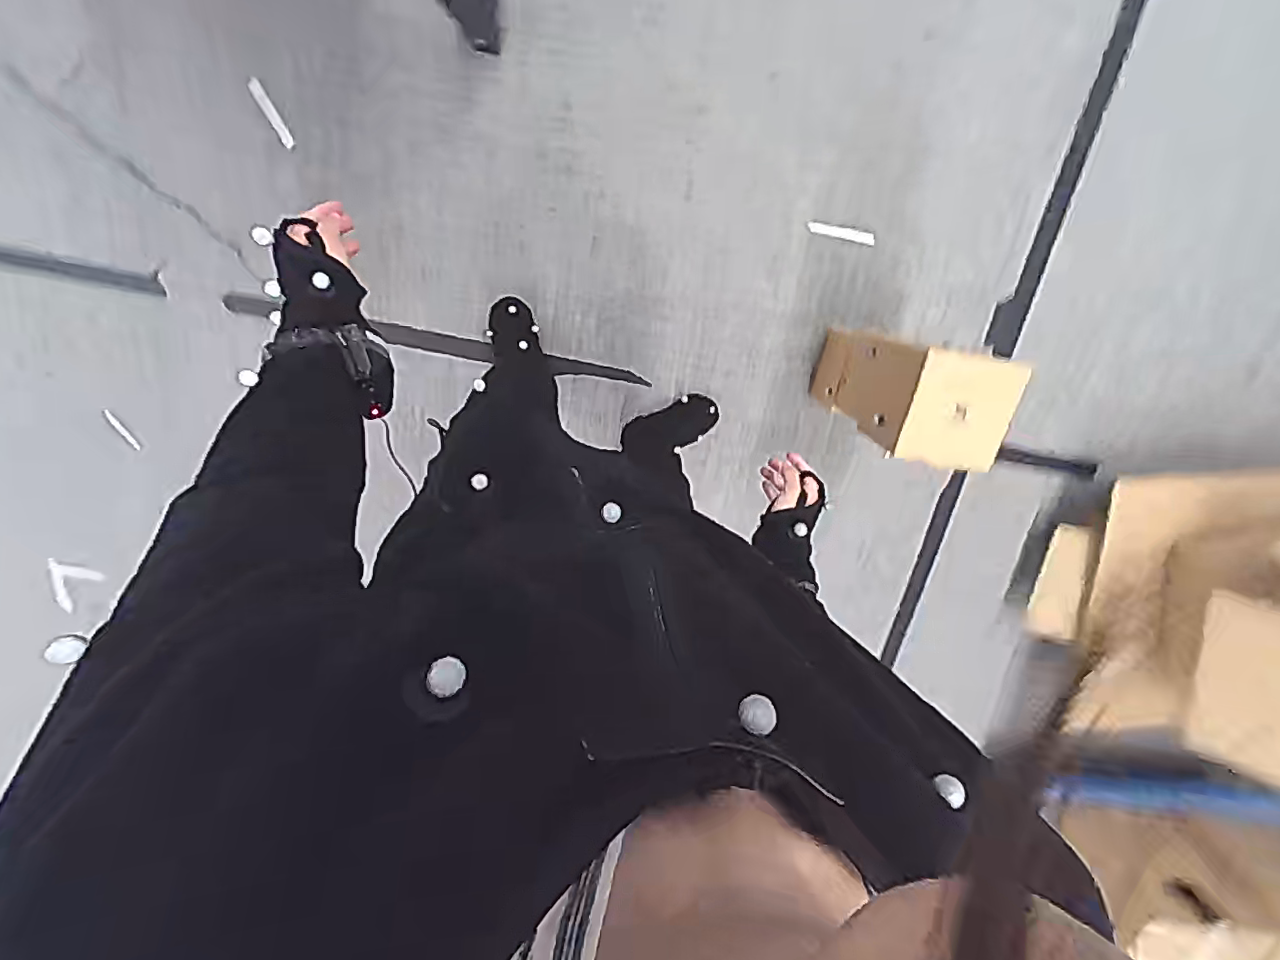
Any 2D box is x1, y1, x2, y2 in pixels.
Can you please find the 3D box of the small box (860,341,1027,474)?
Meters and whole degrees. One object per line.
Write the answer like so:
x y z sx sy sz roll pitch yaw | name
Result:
0.502 -0.130 0.928 0.168 0.176 0.179 9 110 -4 | small box

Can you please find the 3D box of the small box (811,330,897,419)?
0.511 -0.239 1.236 0.168 0.176 0.179 11 110 -3 | small box
